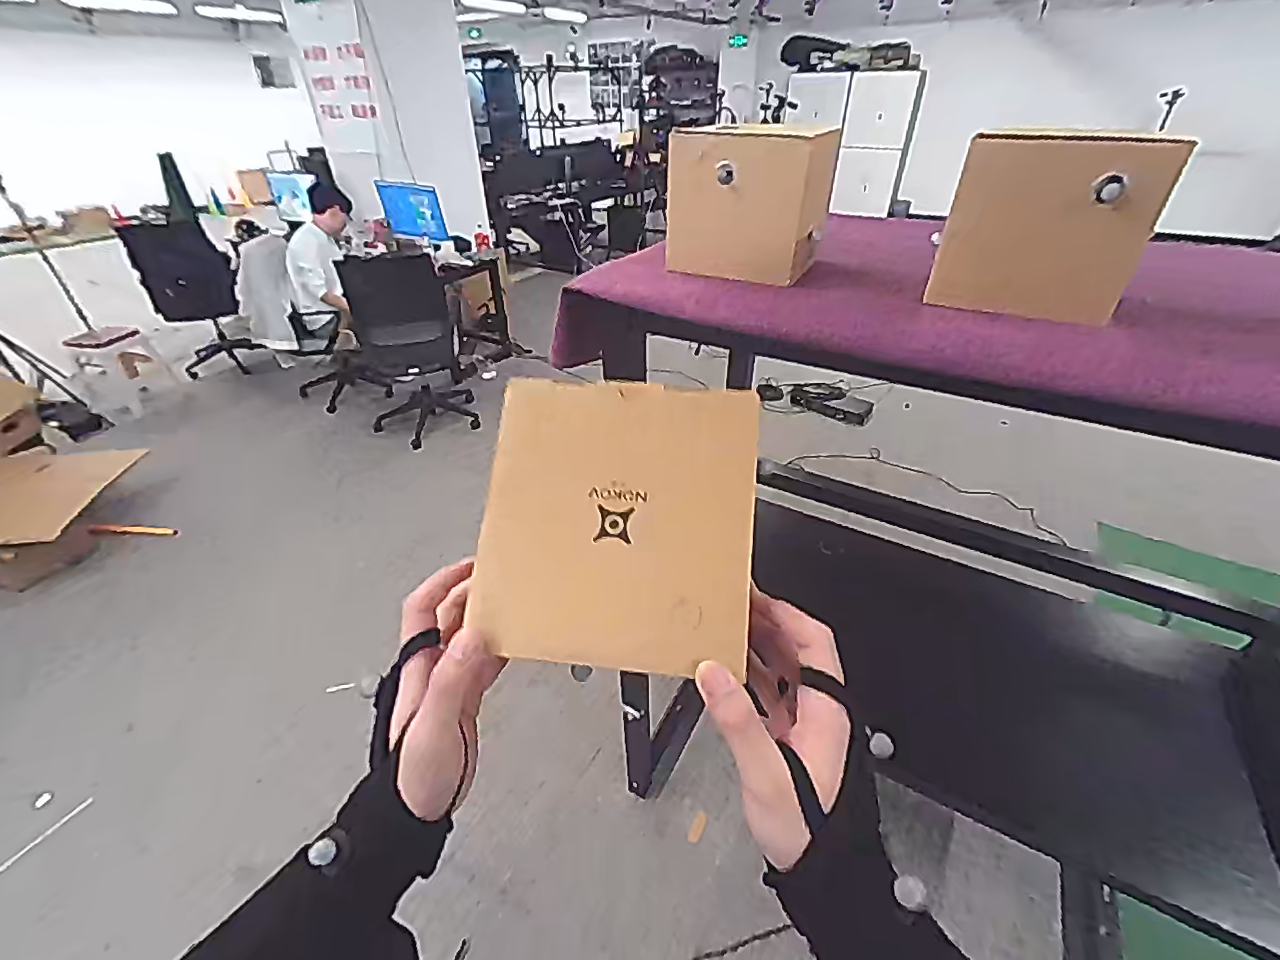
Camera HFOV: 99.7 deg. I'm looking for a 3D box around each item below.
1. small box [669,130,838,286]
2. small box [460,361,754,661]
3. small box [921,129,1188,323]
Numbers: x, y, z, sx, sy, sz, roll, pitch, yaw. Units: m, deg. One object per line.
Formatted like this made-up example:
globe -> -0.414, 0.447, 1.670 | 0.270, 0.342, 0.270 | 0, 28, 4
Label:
small box -> 0.148, -0.372, 0.733 | 0.179, 0.176, 0.168 | 17, 39, 22
small box -> -0.009, 0.031, 0.403 | 0.168, 0.176, 0.179 | 4, 75, 7
small box -> 0.439, -0.284, 0.600 | 0.179, 0.176, 0.168 | 19, 38, 26
